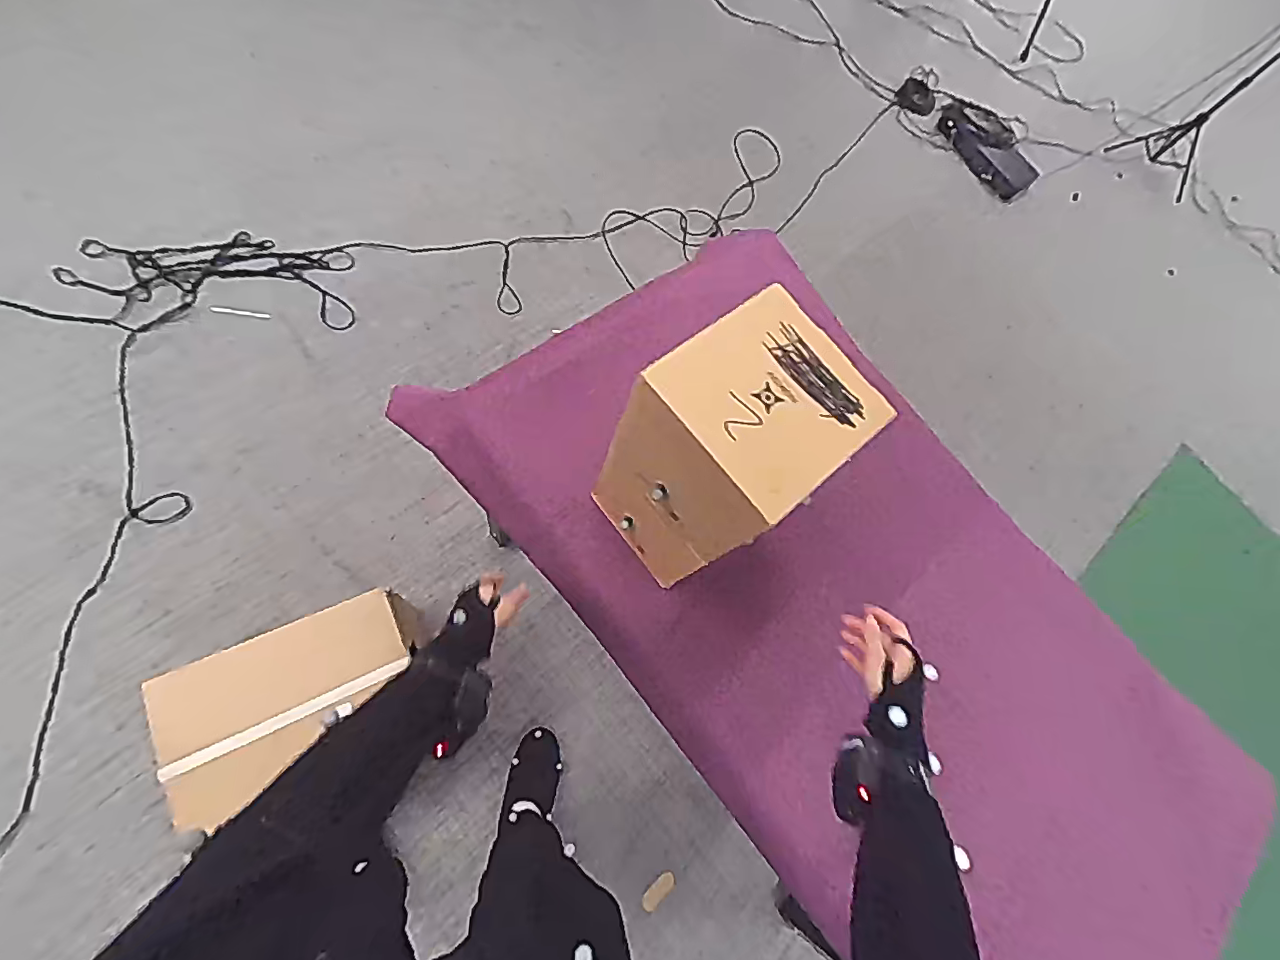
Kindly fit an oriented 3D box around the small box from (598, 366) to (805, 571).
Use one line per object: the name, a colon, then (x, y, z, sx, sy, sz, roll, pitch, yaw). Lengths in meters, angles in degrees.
small box: (0.066, -0.007, 0.692, 0.179, 0.176, 0.168, -36, 82, -21)
